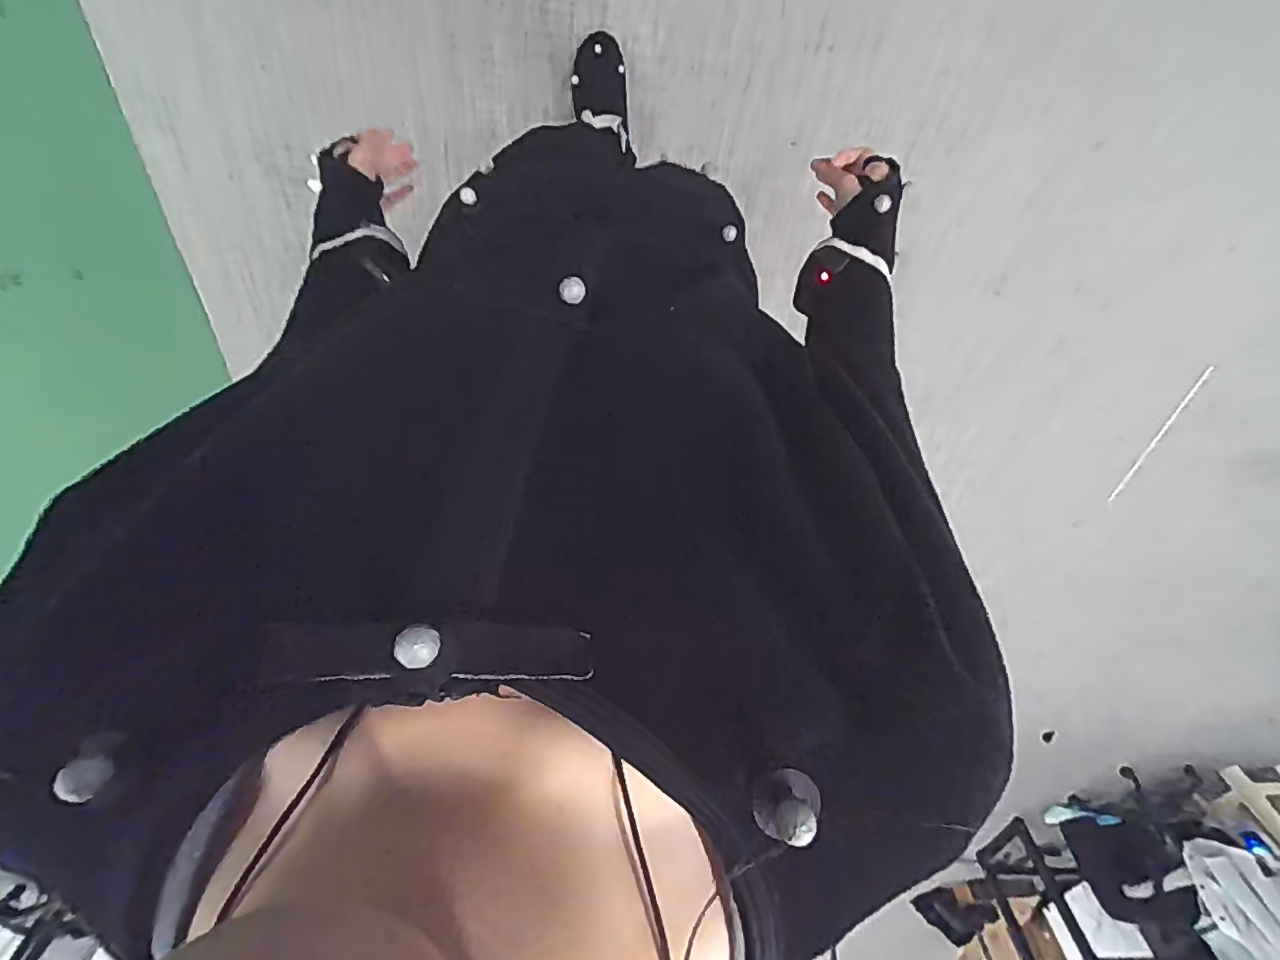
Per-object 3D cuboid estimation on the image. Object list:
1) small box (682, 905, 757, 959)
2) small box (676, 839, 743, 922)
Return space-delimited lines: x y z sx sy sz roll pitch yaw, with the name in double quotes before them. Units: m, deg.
"small box" 0.218 1.318 1.517 0.179 0.176 0.168 6 127 -4
"small box" 0.203 1.219 1.648 0.168 0.176 0.179 4 128 -4
